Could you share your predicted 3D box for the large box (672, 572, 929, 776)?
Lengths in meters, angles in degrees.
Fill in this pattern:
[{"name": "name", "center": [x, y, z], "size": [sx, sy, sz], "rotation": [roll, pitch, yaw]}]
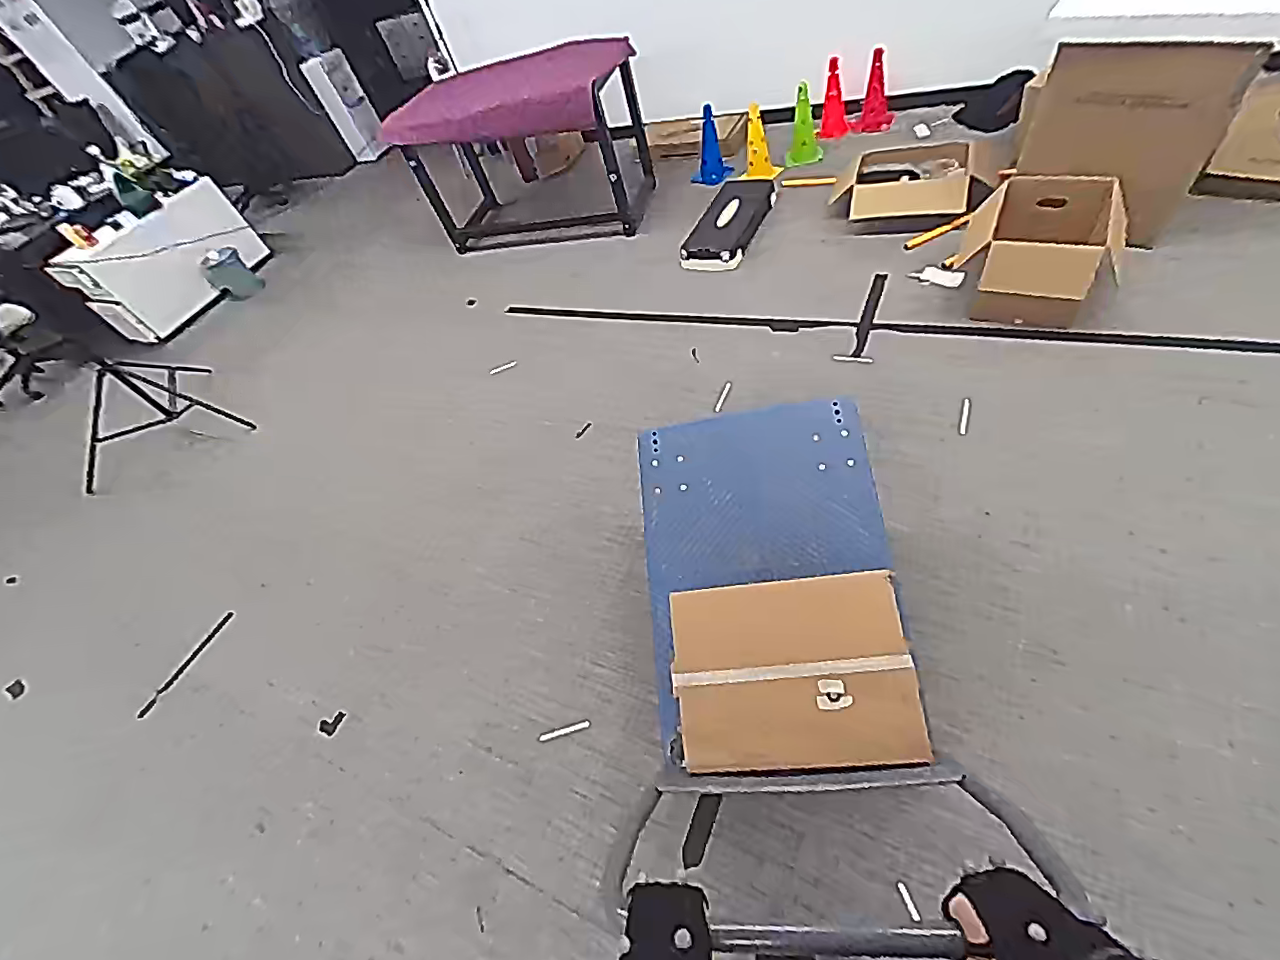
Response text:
[{"name": "large box", "center": [0.299, 0.391, 1.106], "size": [0.408, 0.320, 0.320], "rotation": [-9, 71, 10]}]
